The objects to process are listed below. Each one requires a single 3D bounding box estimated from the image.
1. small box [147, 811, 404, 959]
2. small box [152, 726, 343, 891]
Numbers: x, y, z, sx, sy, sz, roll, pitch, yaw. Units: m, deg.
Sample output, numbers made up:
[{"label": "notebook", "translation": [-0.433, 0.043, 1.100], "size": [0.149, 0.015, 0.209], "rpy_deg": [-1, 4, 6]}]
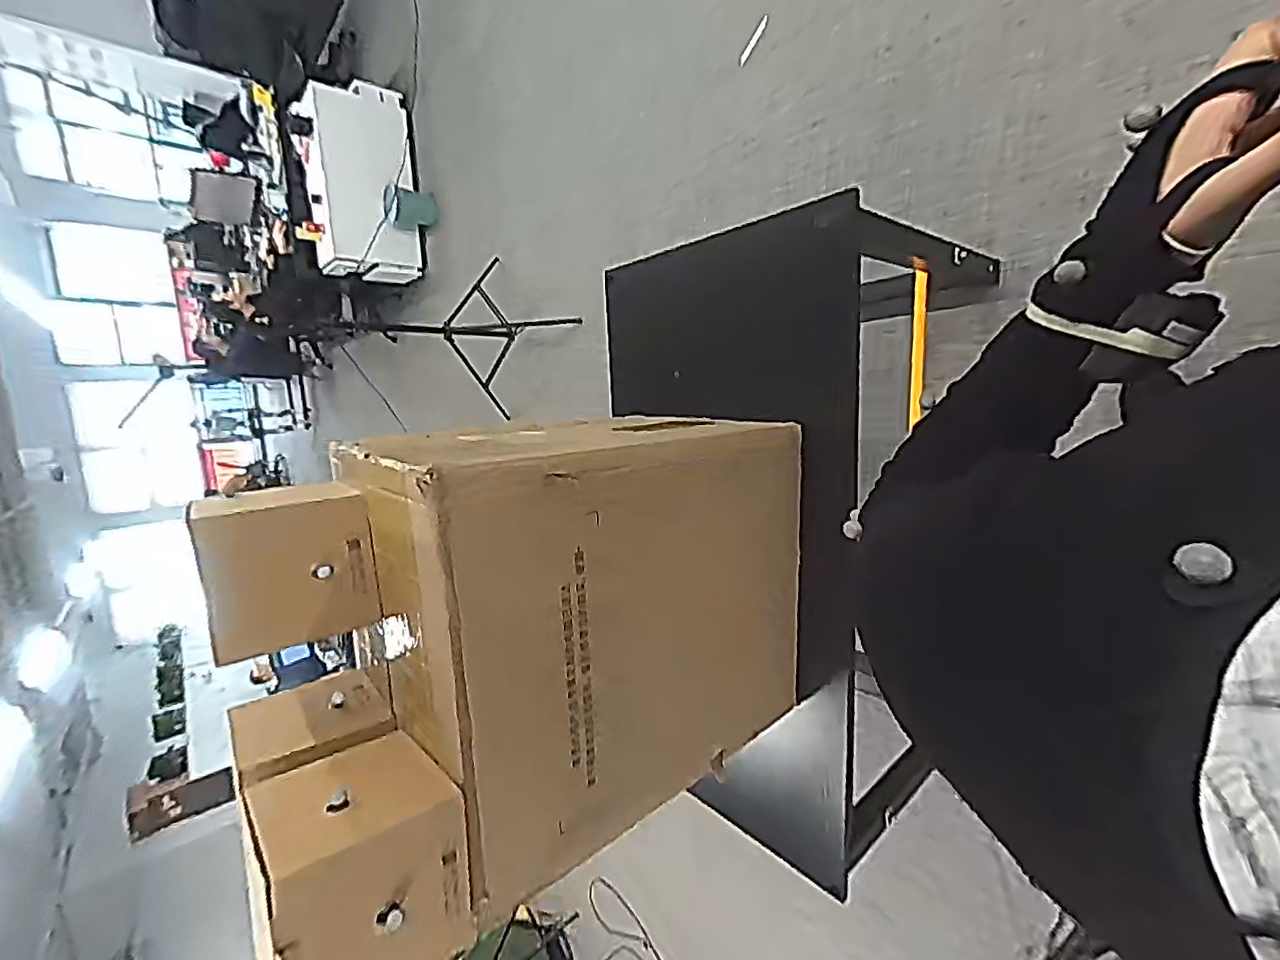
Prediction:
[{"label": "small box", "translation": [-0.330, 0.452, 0.501], "size": [0.179, 0.176, 0.168], "rpy_deg": [1, 96, 47]}, {"label": "small box", "translation": [-0.463, 0.440, 0.657], "size": [0.168, 0.176, 0.179], "rpy_deg": [10, 104, 49]}]
